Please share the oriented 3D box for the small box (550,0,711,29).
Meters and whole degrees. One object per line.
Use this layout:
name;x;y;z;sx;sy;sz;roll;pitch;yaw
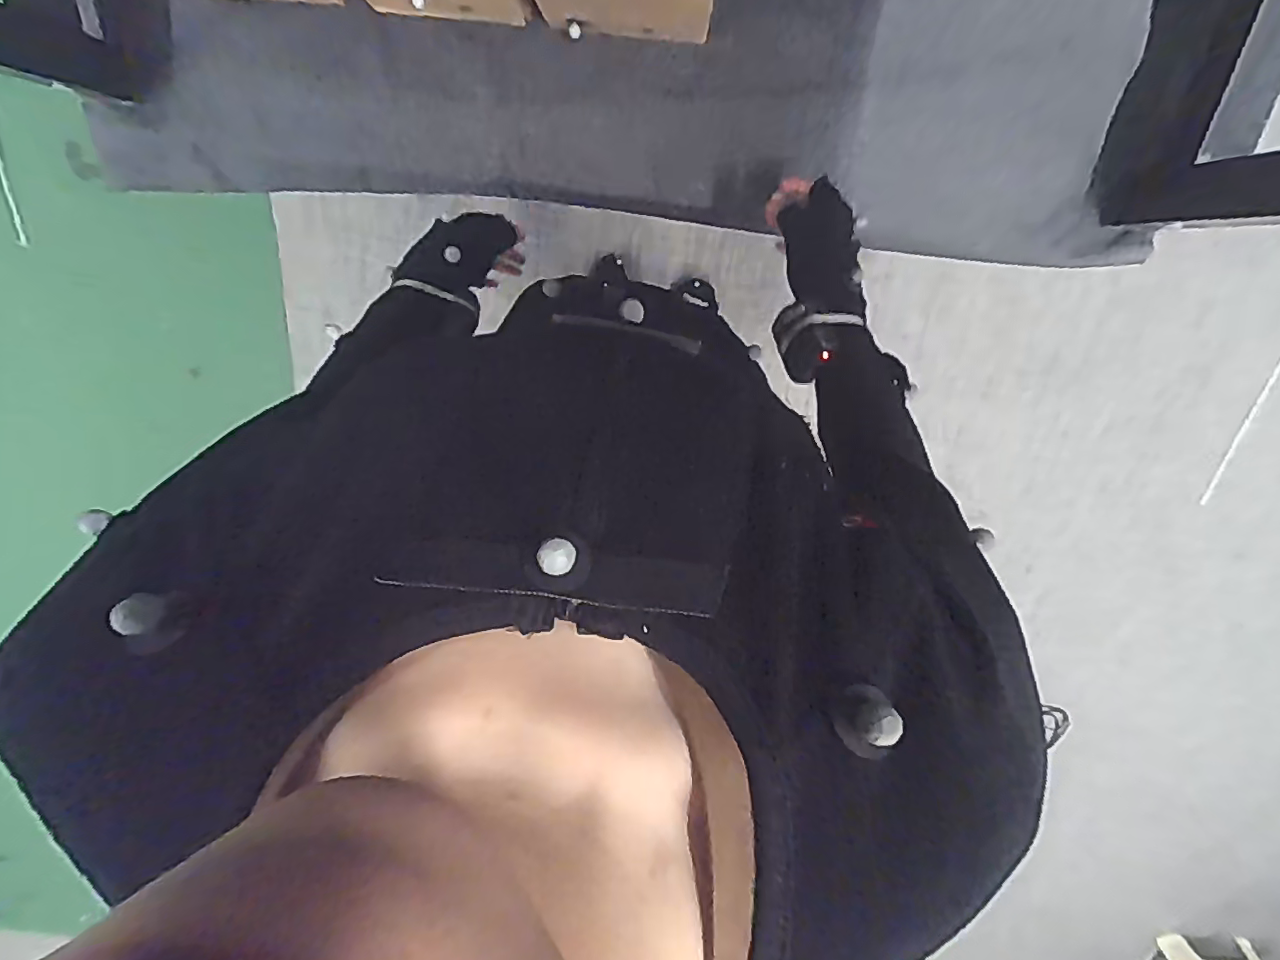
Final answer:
small box;-0.009;-0.512;0.447;0.168;0.176;0.179;6;112;1
